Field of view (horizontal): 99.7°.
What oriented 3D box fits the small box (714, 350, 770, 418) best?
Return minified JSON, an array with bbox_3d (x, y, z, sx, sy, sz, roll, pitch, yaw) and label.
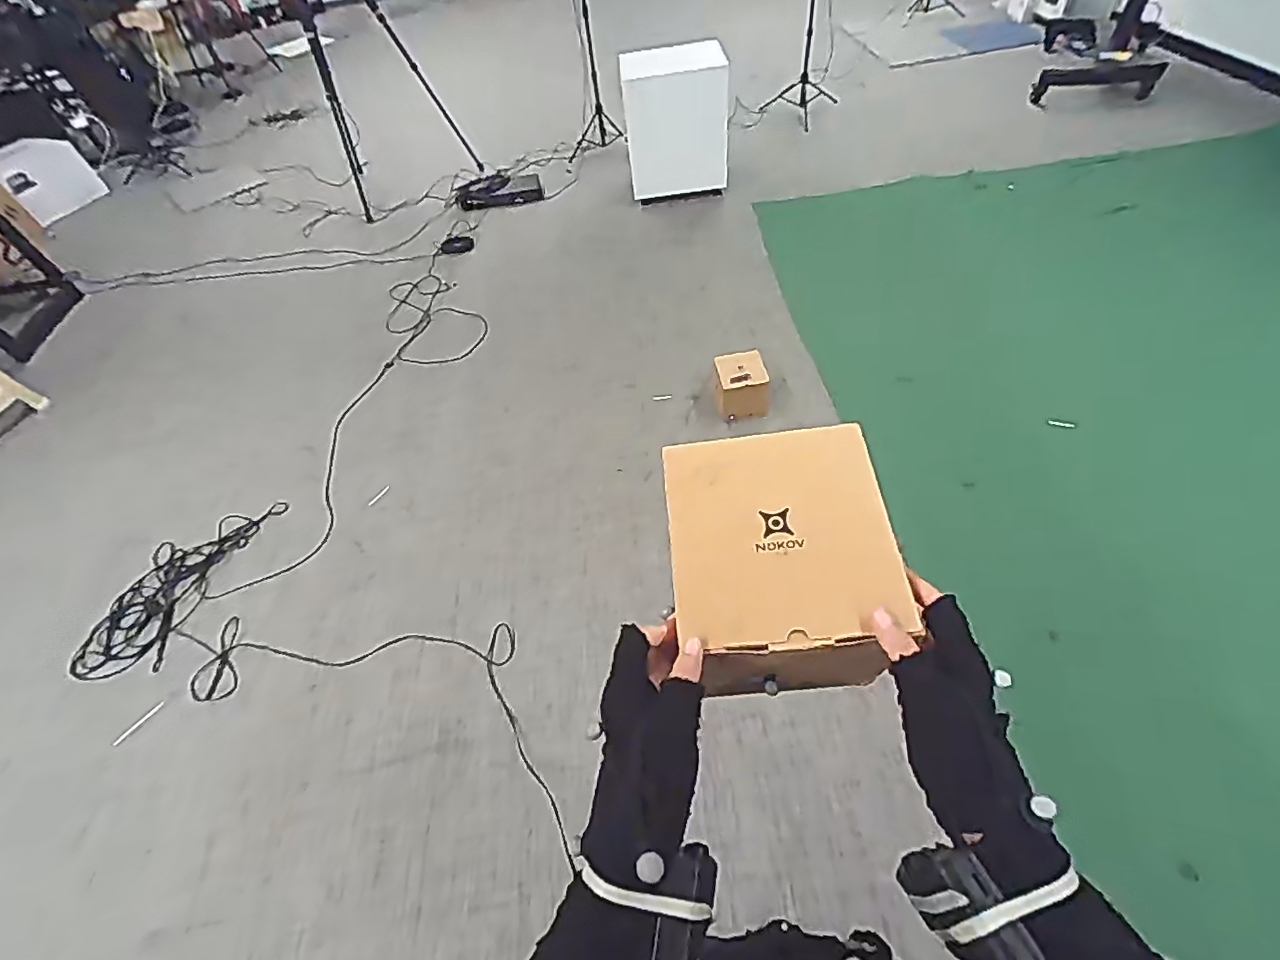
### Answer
[{"bbox_3d":[0.368,-0.342,1.963,0.168,0.176,0.179,-9,52,1],"label":"small box"}]
